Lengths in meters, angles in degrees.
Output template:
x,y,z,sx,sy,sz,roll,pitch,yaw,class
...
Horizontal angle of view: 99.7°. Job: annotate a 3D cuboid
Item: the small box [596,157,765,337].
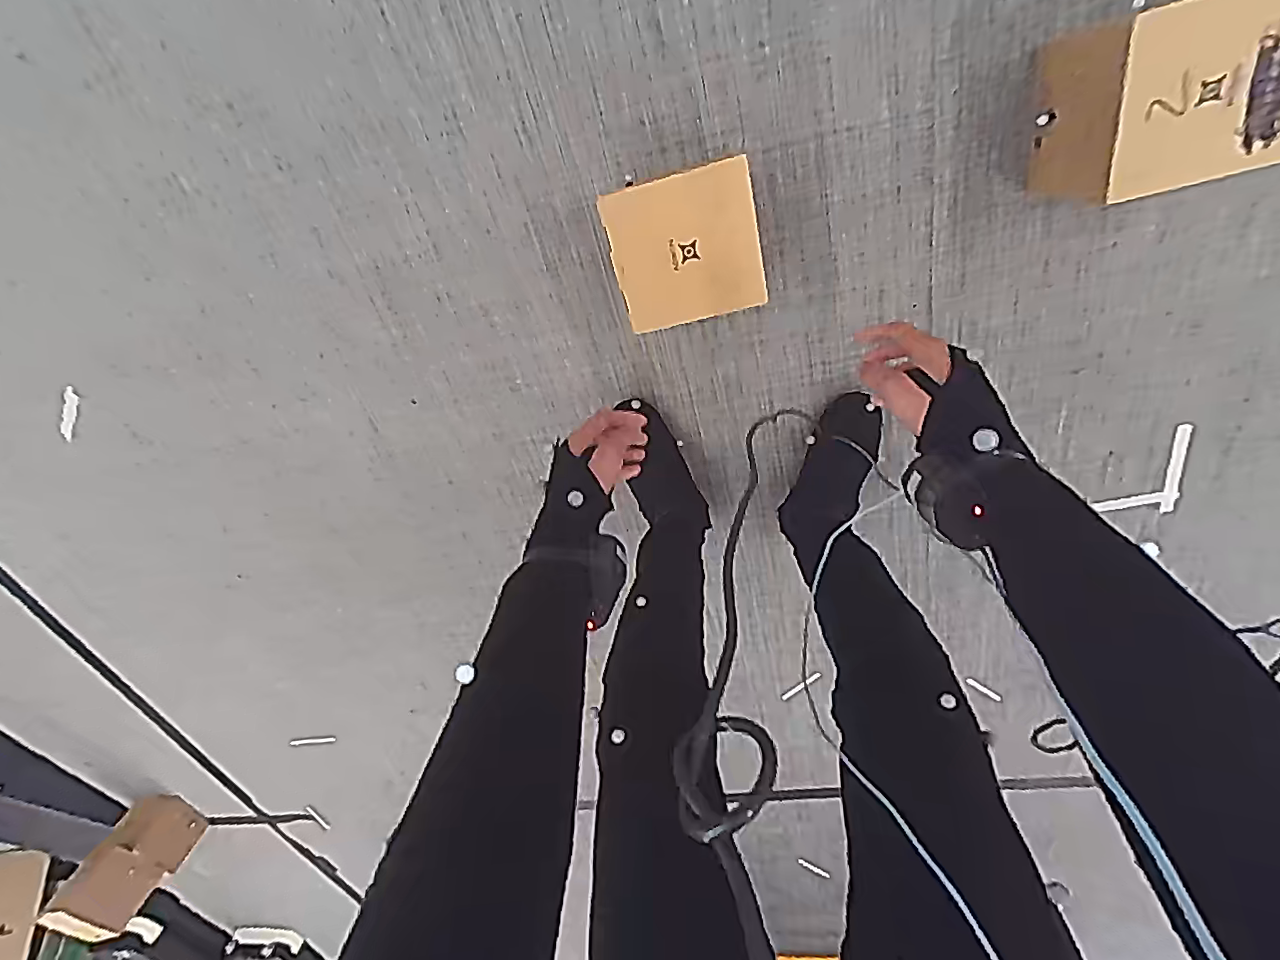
x,y,z,sx,sy,sz,roll,pitch,yaw,class
0.057,-0.308,0.706,0.179,0.176,0.168,-10,120,12,small box
